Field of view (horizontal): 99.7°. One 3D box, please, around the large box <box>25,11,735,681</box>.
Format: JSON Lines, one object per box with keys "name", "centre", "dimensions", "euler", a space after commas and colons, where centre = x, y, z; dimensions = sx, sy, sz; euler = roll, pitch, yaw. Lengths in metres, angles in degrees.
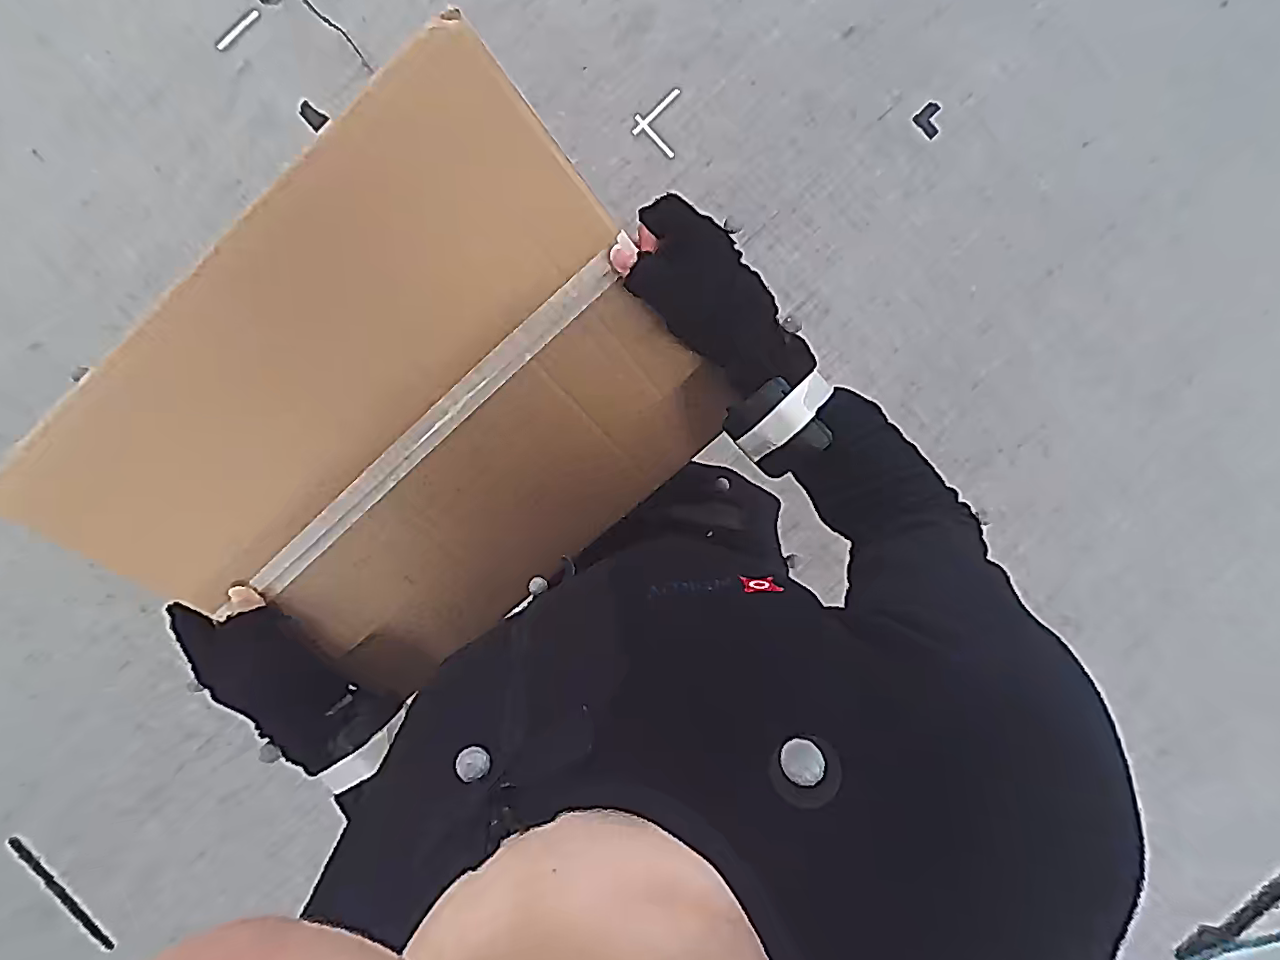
{"name": "large box", "centre": [-0.195, -0.101, 0.523], "dimensions": [0.408, 0.320, 0.320], "euler": [-40, 120, 7]}
